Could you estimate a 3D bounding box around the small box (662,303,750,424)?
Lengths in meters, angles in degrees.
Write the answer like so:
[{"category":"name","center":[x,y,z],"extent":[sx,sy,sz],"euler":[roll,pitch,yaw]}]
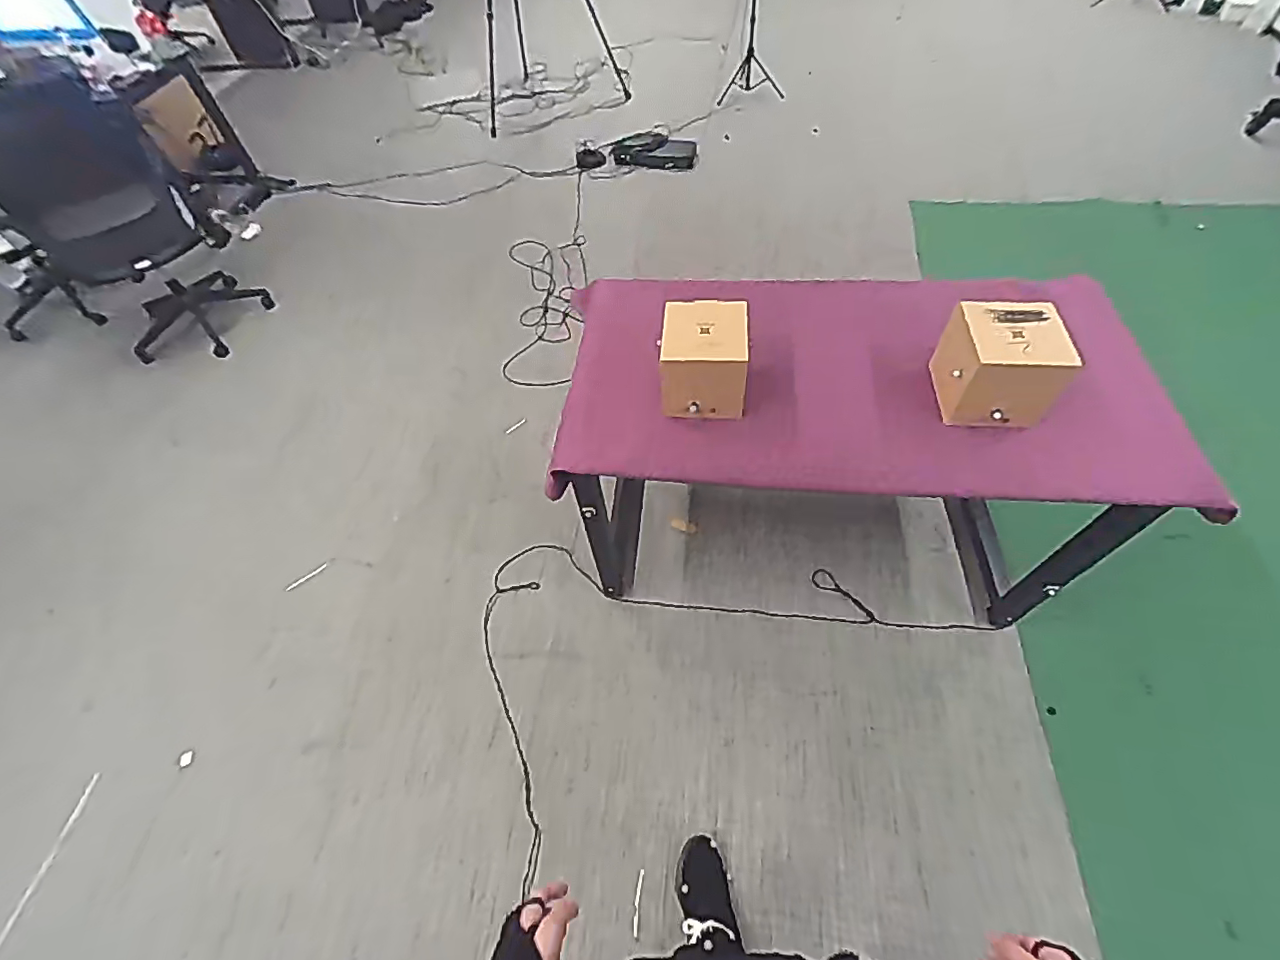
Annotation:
[{"category":"small box","center":[0.134,-0.238,1.105],"extent":[0.168,0.176,0.179],"euler":[3,55,7]}]
